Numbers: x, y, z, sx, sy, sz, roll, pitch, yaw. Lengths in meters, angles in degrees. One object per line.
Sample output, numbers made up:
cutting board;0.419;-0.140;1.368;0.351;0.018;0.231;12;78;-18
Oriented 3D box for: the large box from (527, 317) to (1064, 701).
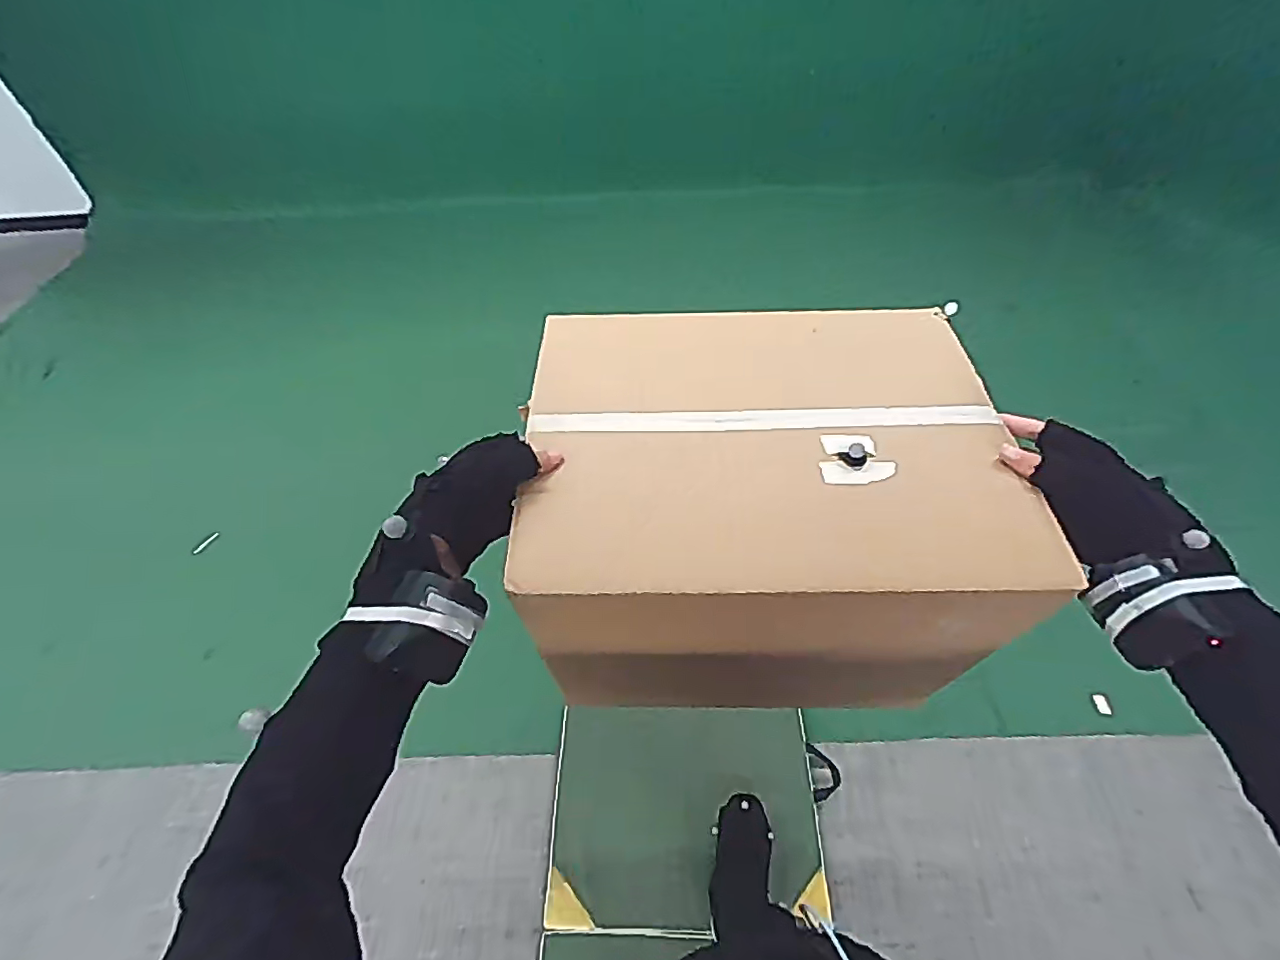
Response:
large box;0.111;0.041;0.599;0.408;0.320;0.320;0;54;0
